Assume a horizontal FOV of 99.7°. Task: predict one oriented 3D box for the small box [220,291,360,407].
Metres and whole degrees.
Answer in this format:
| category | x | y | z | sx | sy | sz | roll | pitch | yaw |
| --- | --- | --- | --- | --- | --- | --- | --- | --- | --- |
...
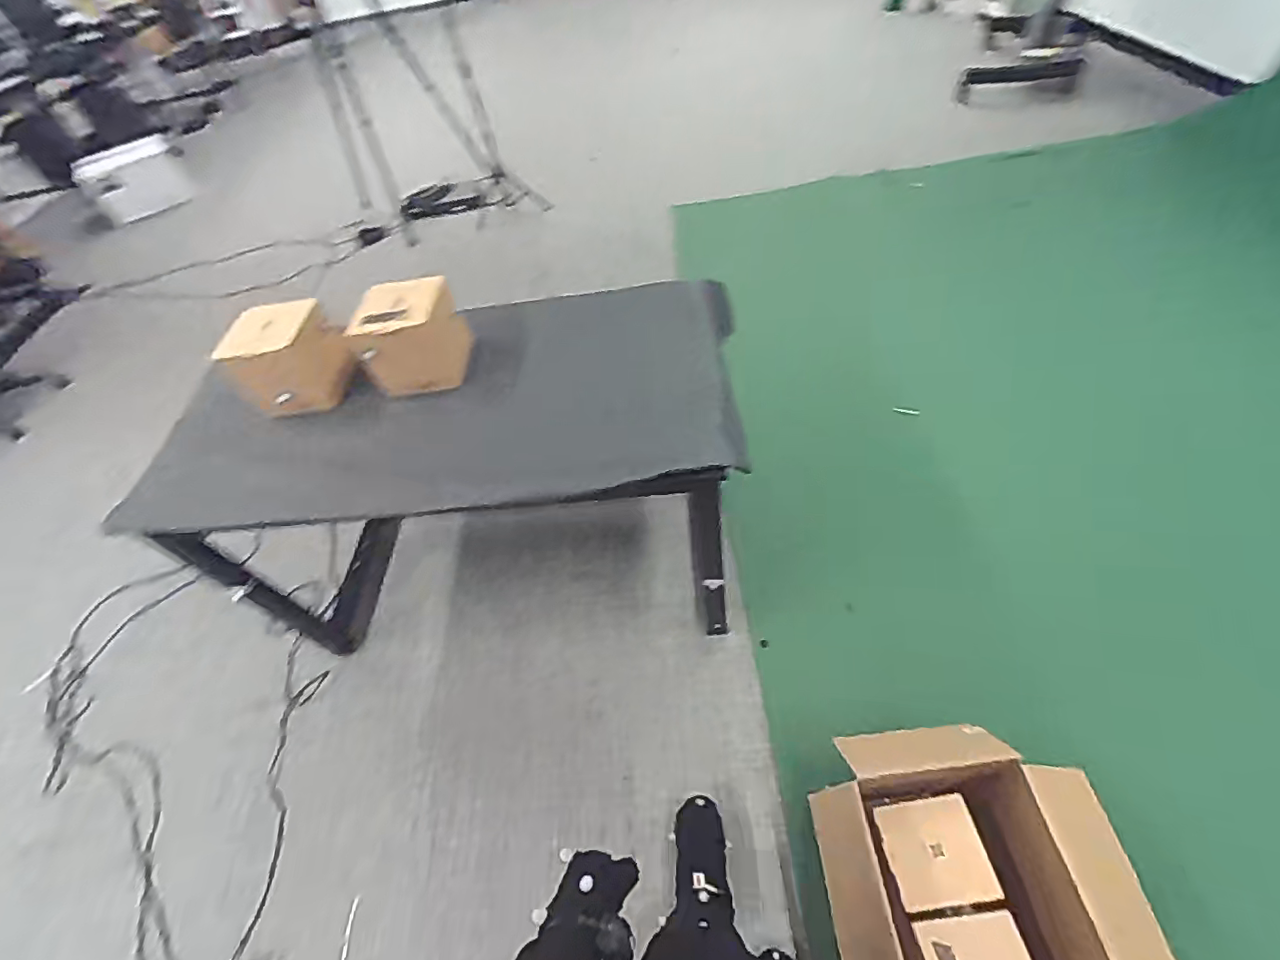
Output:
| category | x | y | z | sx | sy | sz | roll | pitch | yaw |
| --- | --- | --- | --- | --- | --- | --- | --- | --- | --- |
| small box | -0.747 | -0.284 | 1.179 | 0.168 | 0.176 | 0.179 | -5 | 52 | 6 |
